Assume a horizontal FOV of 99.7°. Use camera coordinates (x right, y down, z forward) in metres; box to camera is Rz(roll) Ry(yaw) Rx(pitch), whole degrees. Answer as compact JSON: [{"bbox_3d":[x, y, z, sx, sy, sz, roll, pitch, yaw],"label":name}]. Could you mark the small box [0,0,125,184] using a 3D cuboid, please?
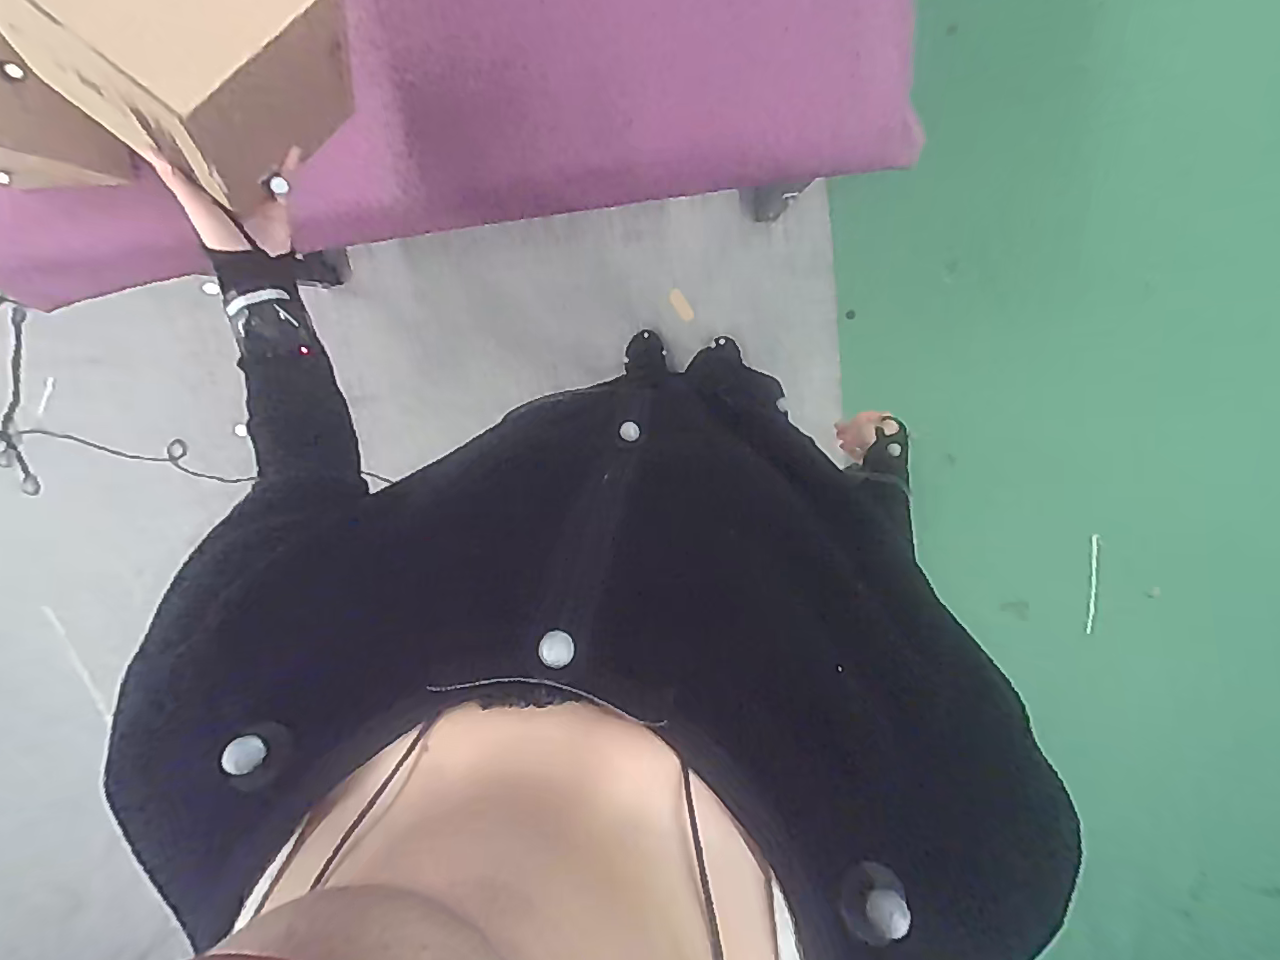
[{"bbox_3d":[-0.725,-0.434,0.588,0.168,0.176,0.179,0,106,2],"label":"small box"}]
